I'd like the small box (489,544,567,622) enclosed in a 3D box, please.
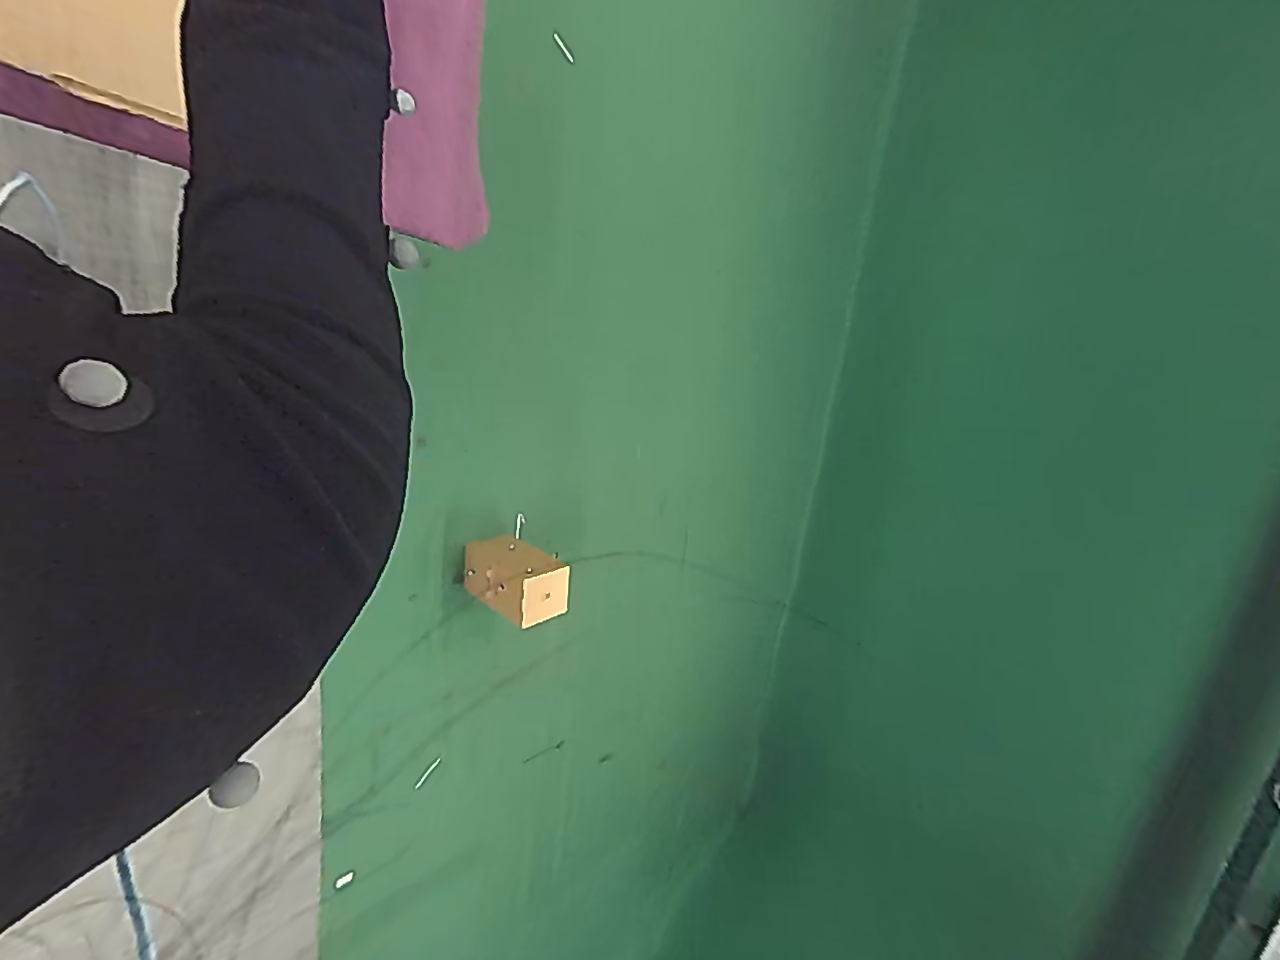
[{"bbox_3d":[-0.357,0.318,1.714,0.179,0.176,0.168,-11,114,-46],"label":"small box"}]

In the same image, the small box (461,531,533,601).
[{"bbox_3d":[-0.478,0.280,1.816,0.179,0.176,0.168,-10,111,-48],"label":"small box"}]
